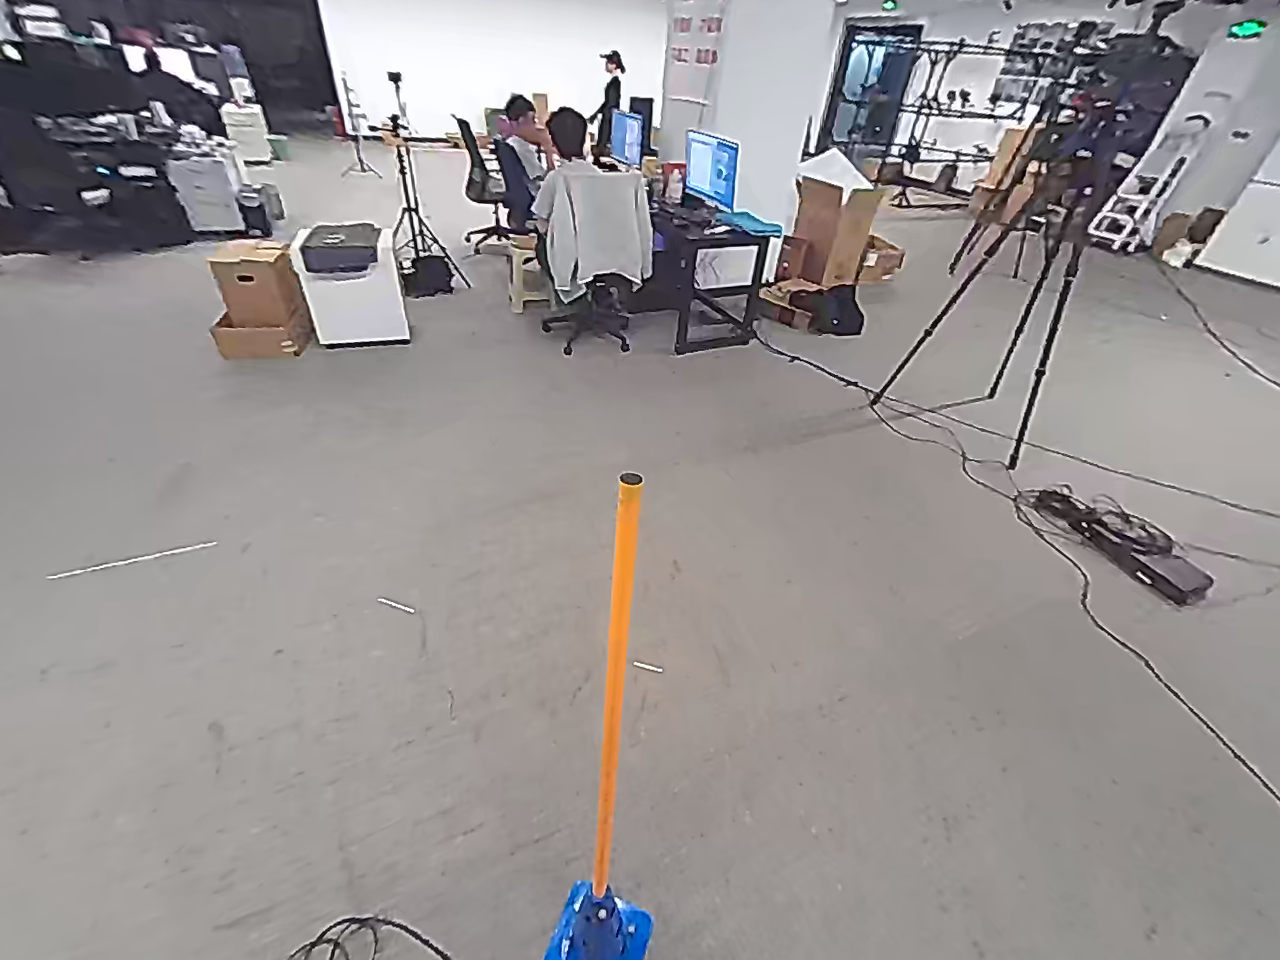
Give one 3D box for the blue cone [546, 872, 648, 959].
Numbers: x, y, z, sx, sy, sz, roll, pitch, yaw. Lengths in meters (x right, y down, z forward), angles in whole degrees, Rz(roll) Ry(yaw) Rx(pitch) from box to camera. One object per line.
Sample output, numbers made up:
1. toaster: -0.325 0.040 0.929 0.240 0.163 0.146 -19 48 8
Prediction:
1. blue cone: -0.080 0.865 1.069 0.192 0.380 0.193 15 37 14
